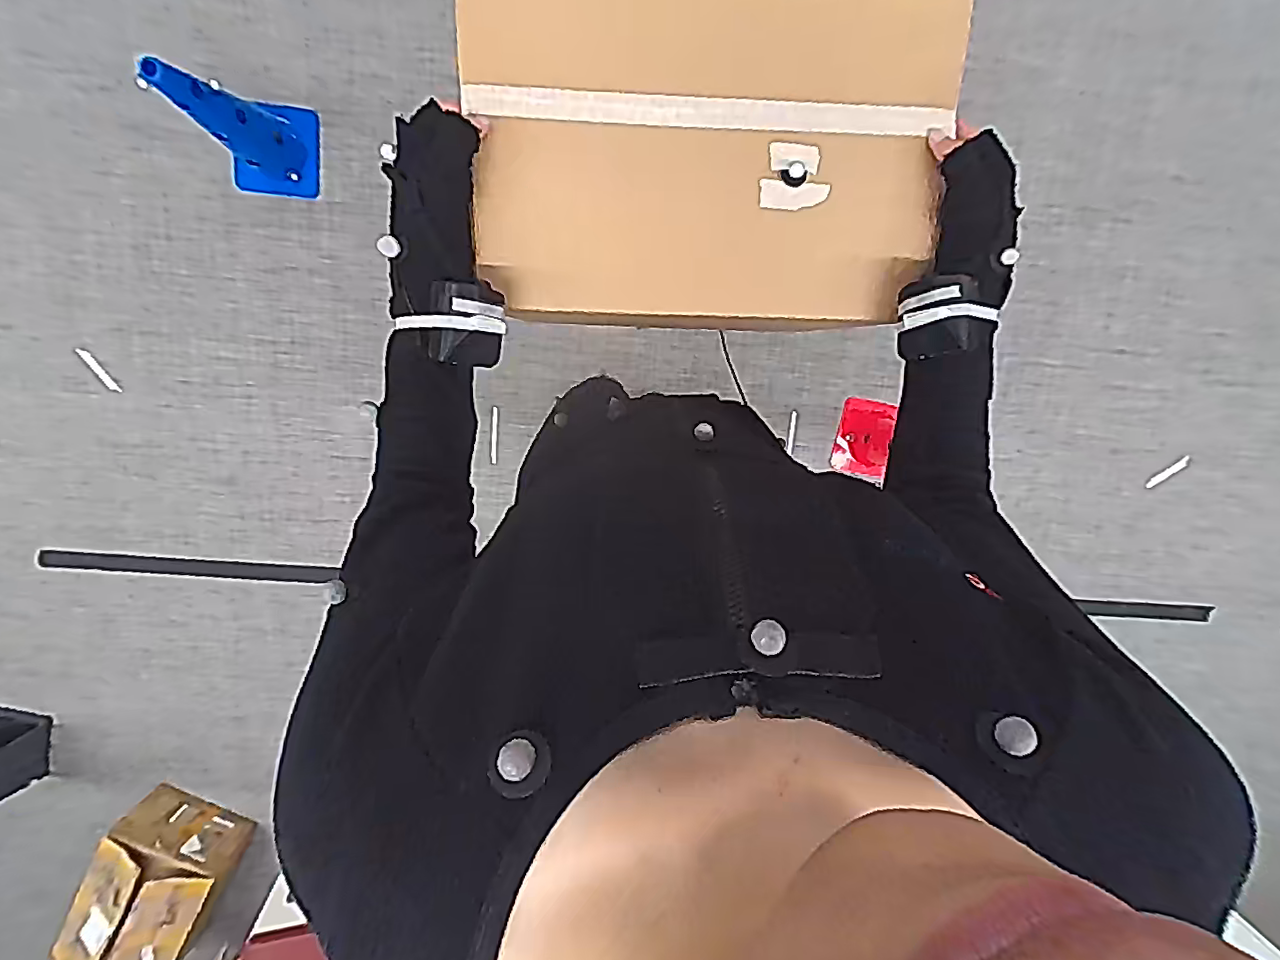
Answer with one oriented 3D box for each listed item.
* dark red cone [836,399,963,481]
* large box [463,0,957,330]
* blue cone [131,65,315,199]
[{"bbox_3d":[0.638,-0.072,1.284,0.201,0.394,0.202,10,100,-2],"label":"dark red cone"},{"bbox_3d":[0.047,-0.332,0.593,0.408,0.320,0.320,0,104,-5],"label":"large box"},{"bbox_3d":[-0.881,-0.755,1.145,0.192,0.380,0.193,7,100,-2],"label":"blue cone"}]
